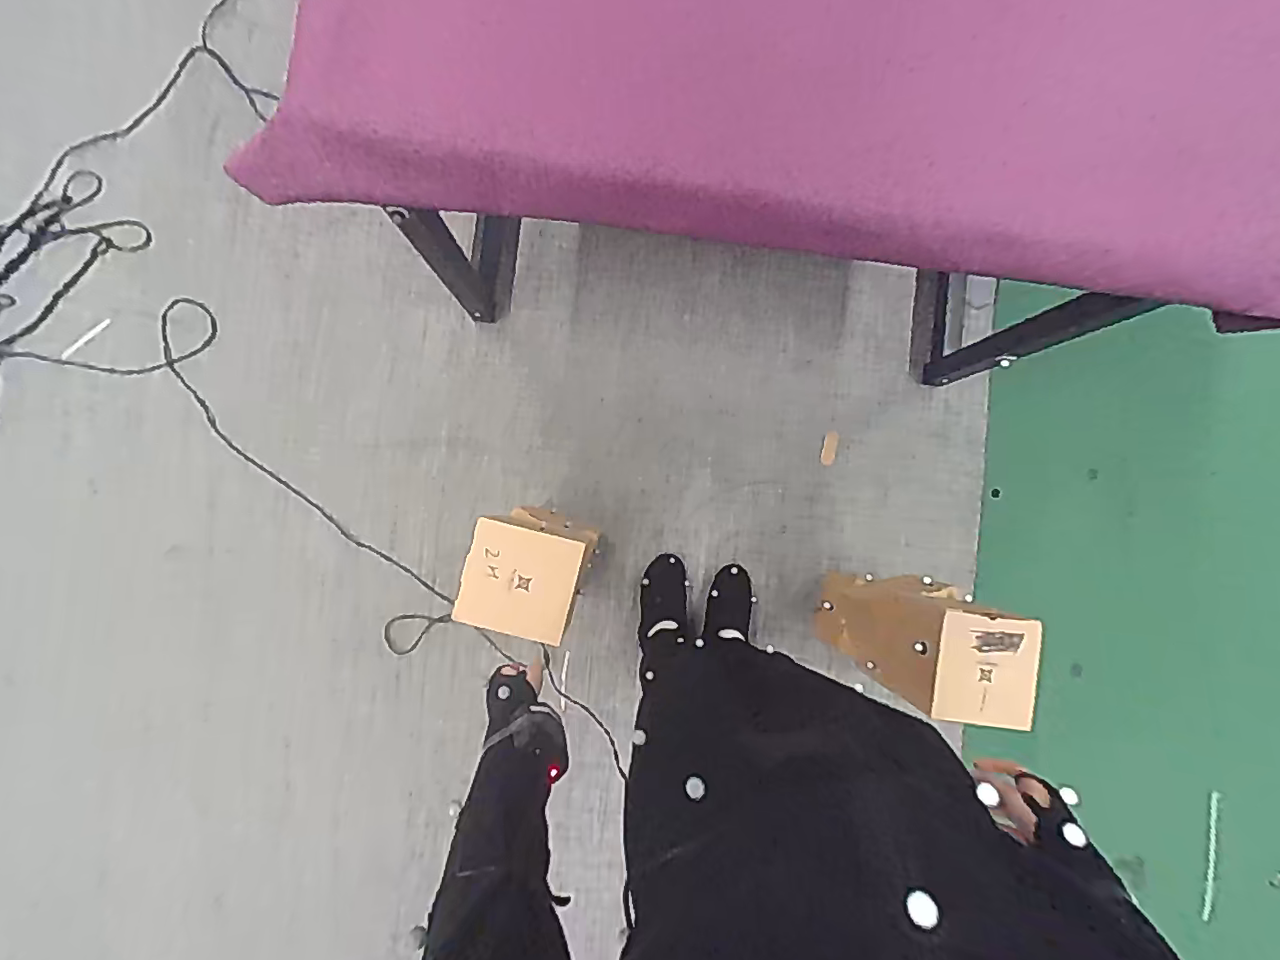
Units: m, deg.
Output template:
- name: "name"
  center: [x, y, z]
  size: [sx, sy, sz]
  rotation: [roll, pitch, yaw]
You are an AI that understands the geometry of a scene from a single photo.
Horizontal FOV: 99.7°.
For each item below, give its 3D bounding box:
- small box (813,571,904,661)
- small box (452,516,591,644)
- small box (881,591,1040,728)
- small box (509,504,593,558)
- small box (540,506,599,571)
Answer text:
- name: "small box"
  center: [0.527, 0.317, 1.264]
  size: [0.179, 0.176, 0.168]
  rotation: [17, 88, -1]
- name: "small box"
  center: [-0.187, 0.158, 0.914]
  size: [0.179, 0.176, 0.168]
  rotation: [15, 86, -1]
- name: "small box"
  center: [0.541, 0.298, 0.936]
  size: [0.168, 0.176, 0.179]
  rotation: [9, 89, -3]
- name: "small box"
  center: [-0.202, 0.161, 1.078]
  size: [0.168, 0.176, 0.179]
  rotation: [28, 87, 0]
- name: "small box"
  center: [-0.200, 0.167, 1.240]
  size: [0.168, 0.176, 0.179]
  rotation: [22, 88, -1]
